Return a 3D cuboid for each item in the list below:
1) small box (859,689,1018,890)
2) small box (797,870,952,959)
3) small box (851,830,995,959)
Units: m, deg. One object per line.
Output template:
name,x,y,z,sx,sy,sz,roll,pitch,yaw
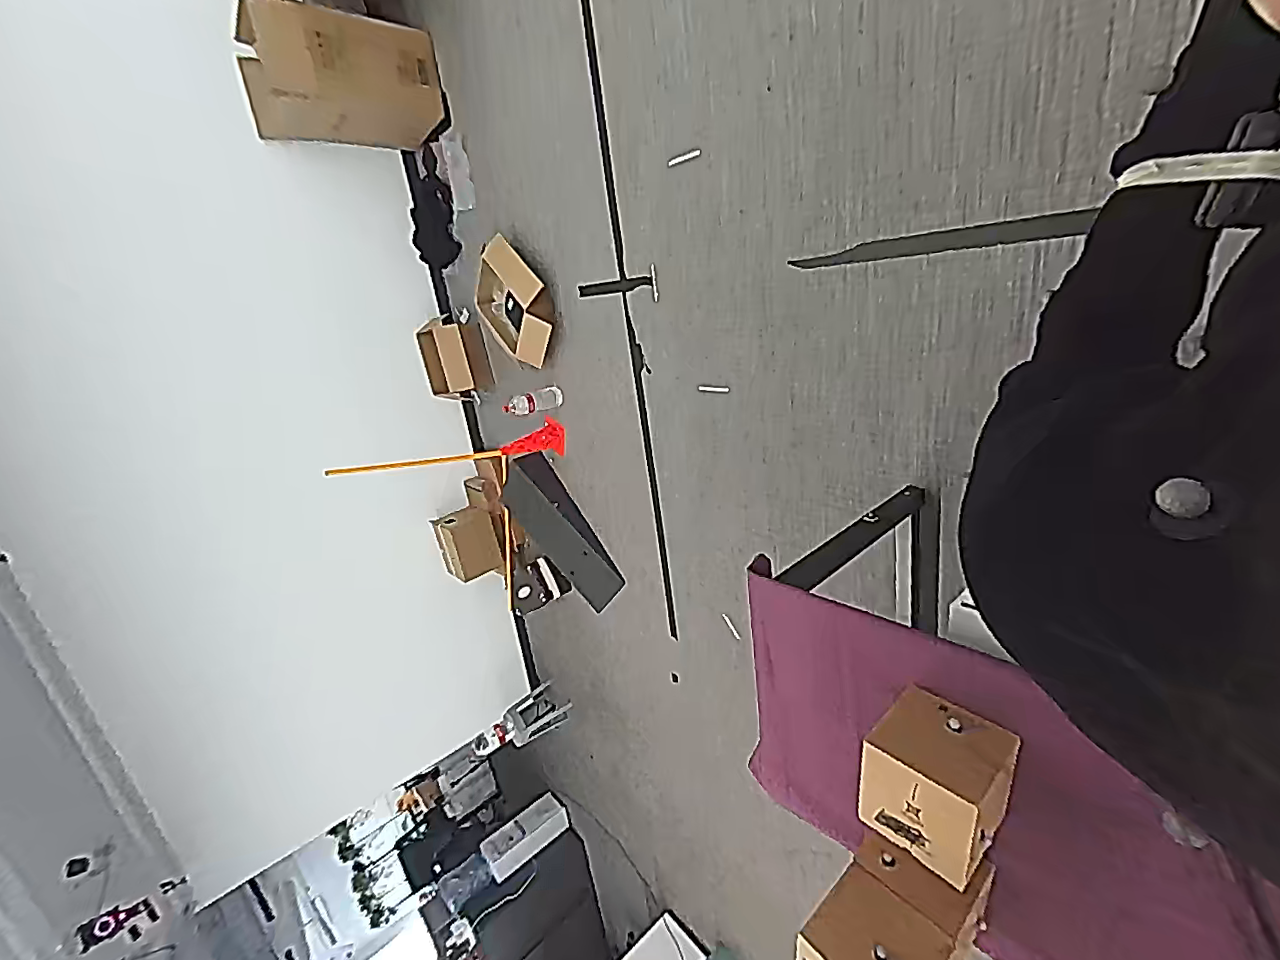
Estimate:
small box,0.471,0.477,0.858,0.168,0.176,0.179,18,122,47
small box,0.372,0.790,0.868,0.179,0.176,0.168,20,122,45
small box,0.495,0.739,0.964,0.179,0.176,0.168,19,122,46
